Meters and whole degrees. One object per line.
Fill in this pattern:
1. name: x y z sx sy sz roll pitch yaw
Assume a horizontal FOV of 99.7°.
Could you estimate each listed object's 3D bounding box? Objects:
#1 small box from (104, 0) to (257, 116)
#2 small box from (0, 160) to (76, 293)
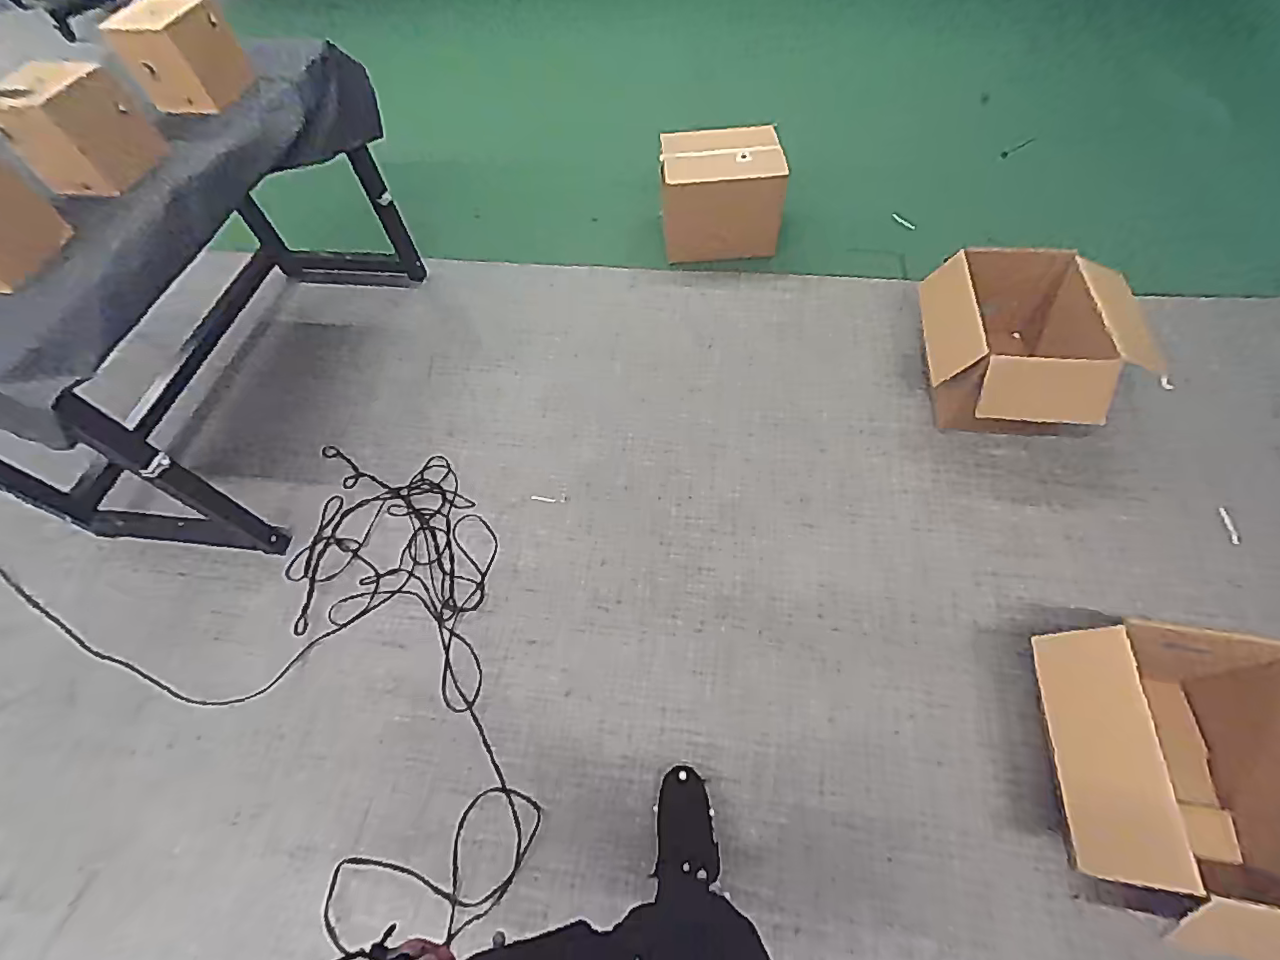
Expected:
1. small box: -1.041 -0.970 1.246 0.168 0.176 0.179 7 59 8
2. small box: -1.170 -0.447 0.941 0.168 0.176 0.179 5 58 5
